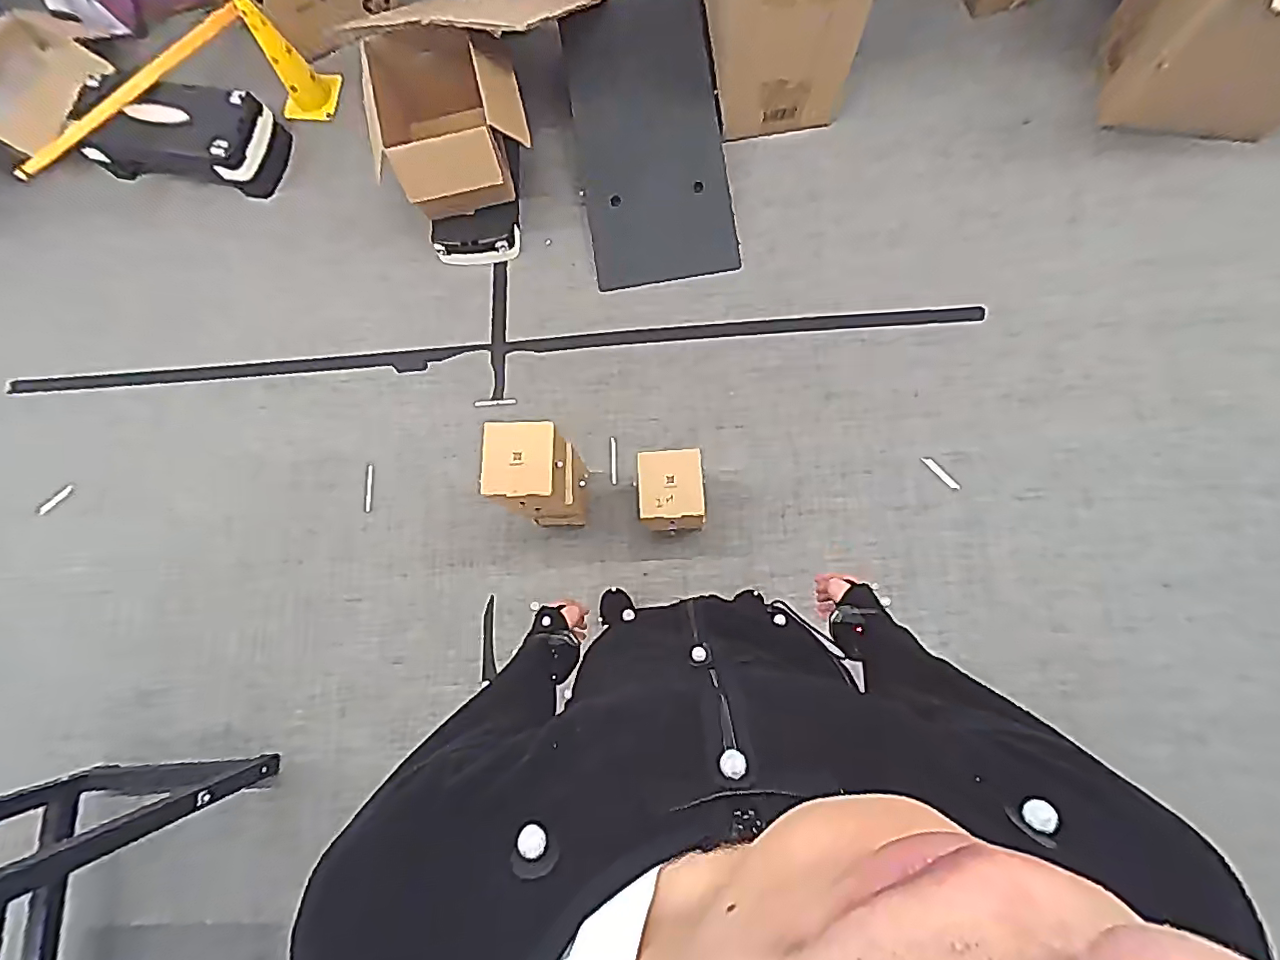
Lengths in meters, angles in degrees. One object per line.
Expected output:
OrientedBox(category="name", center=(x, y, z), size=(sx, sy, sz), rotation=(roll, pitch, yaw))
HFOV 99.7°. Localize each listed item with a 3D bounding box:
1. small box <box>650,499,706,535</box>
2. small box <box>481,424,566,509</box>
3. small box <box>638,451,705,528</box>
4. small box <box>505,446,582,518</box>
OrientedBox(category="small box", center=(0.104, 0.064, 1.606), size=(0.168, 0.176, 0.179), rotation=(-5, 79, 3))
OrientedBox(category="small box", center=(-0.275, -0.027, 1.309), size=(0.168, 0.176, 0.179), rotation=(-1, 79, 2))
OrientedBox(category="small box", center=(0.083, 0.031, 1.446), size=(0.168, 0.176, 0.179), rotation=(-4, 79, 4))
OrientedBox(category="small box", center=(-0.257, 0.011, 1.466), size=(0.179, 0.176, 0.168), rotation=(-2, 78, 1))
